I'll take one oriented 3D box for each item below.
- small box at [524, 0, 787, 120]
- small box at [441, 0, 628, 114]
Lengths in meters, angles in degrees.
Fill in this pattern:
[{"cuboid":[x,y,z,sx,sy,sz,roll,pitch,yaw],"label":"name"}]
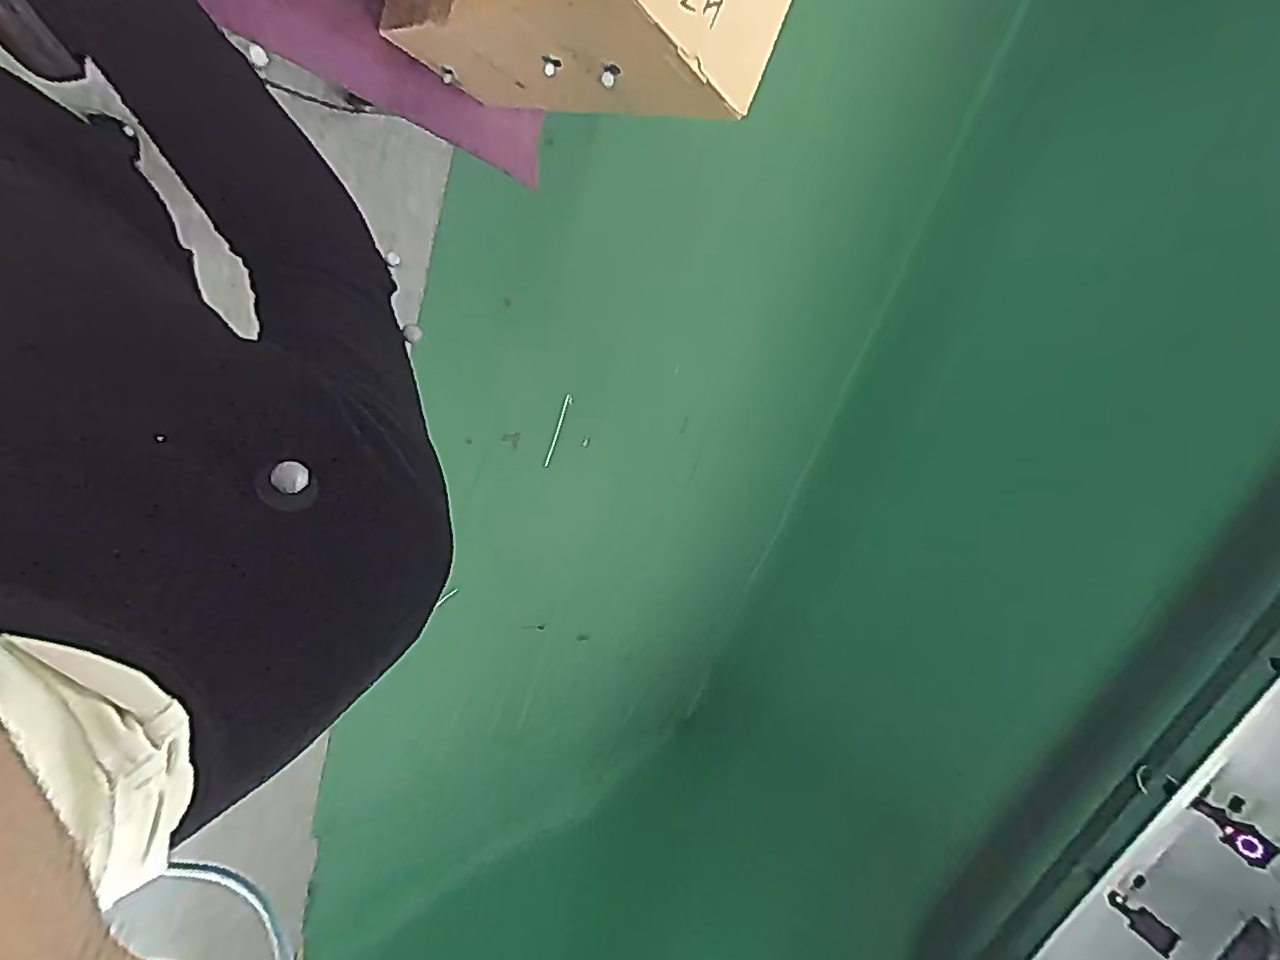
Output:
[{"cuboid":[0.021,-0.465,0.489,0.168,0.176,0.179,6,112,-49],"label":"small box"},{"cuboid":[-0.091,-0.536,0.587,0.168,0.176,0.179,5,111,-49],"label":"small box"}]
